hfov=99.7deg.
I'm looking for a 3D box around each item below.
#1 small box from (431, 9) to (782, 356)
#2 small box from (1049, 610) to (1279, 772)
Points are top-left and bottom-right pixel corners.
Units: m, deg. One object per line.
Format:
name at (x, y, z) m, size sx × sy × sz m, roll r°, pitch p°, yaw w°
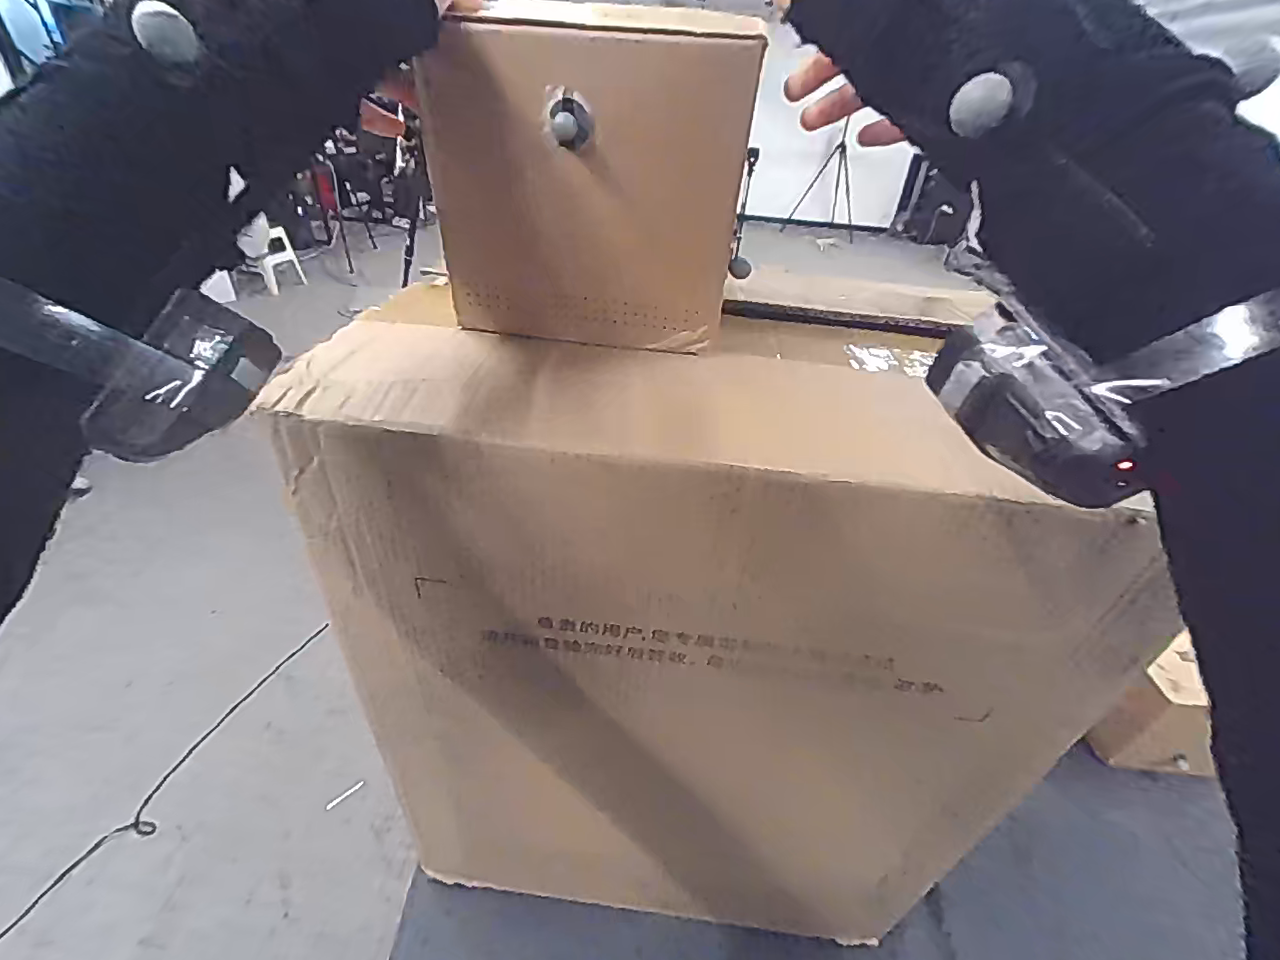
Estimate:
small box at (-0.012, -0.202, 0.370) m, size 0.179 × 0.176 × 0.168 m, roll 9°, pitch 44°, yaw 3°
small box at (0.801, 0.329, 0.842) m, size 0.179 × 0.176 × 0.168 m, roll 6°, pitch 35°, yaw 1°
